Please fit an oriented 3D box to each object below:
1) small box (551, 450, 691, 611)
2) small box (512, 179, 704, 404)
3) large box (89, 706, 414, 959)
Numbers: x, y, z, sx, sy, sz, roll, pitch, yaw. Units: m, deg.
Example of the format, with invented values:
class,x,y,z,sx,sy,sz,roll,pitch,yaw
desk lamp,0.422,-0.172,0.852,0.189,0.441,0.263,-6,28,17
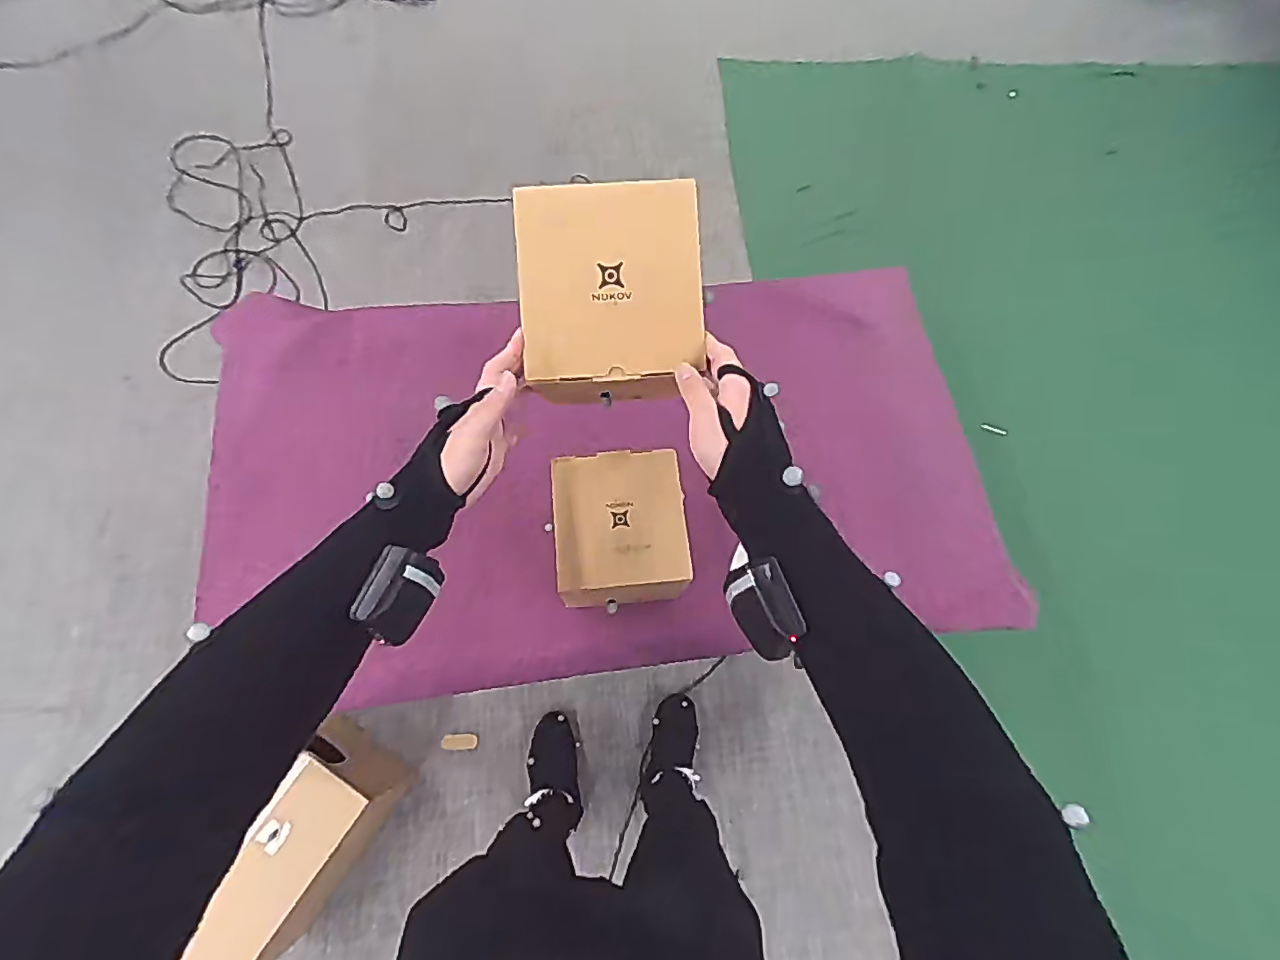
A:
class,x,y,z,sx,sy,sz,roll,pitch,yaw
small box,-0.032,0.075,0.739,0.168,0.176,0.179,-4,70,-4
small box,-0.032,-0.180,0.560,0.168,0.176,0.179,-4,92,-2
large box,-0.776,0.754,1.155,0.320,0.320,0.408,32,71,7
